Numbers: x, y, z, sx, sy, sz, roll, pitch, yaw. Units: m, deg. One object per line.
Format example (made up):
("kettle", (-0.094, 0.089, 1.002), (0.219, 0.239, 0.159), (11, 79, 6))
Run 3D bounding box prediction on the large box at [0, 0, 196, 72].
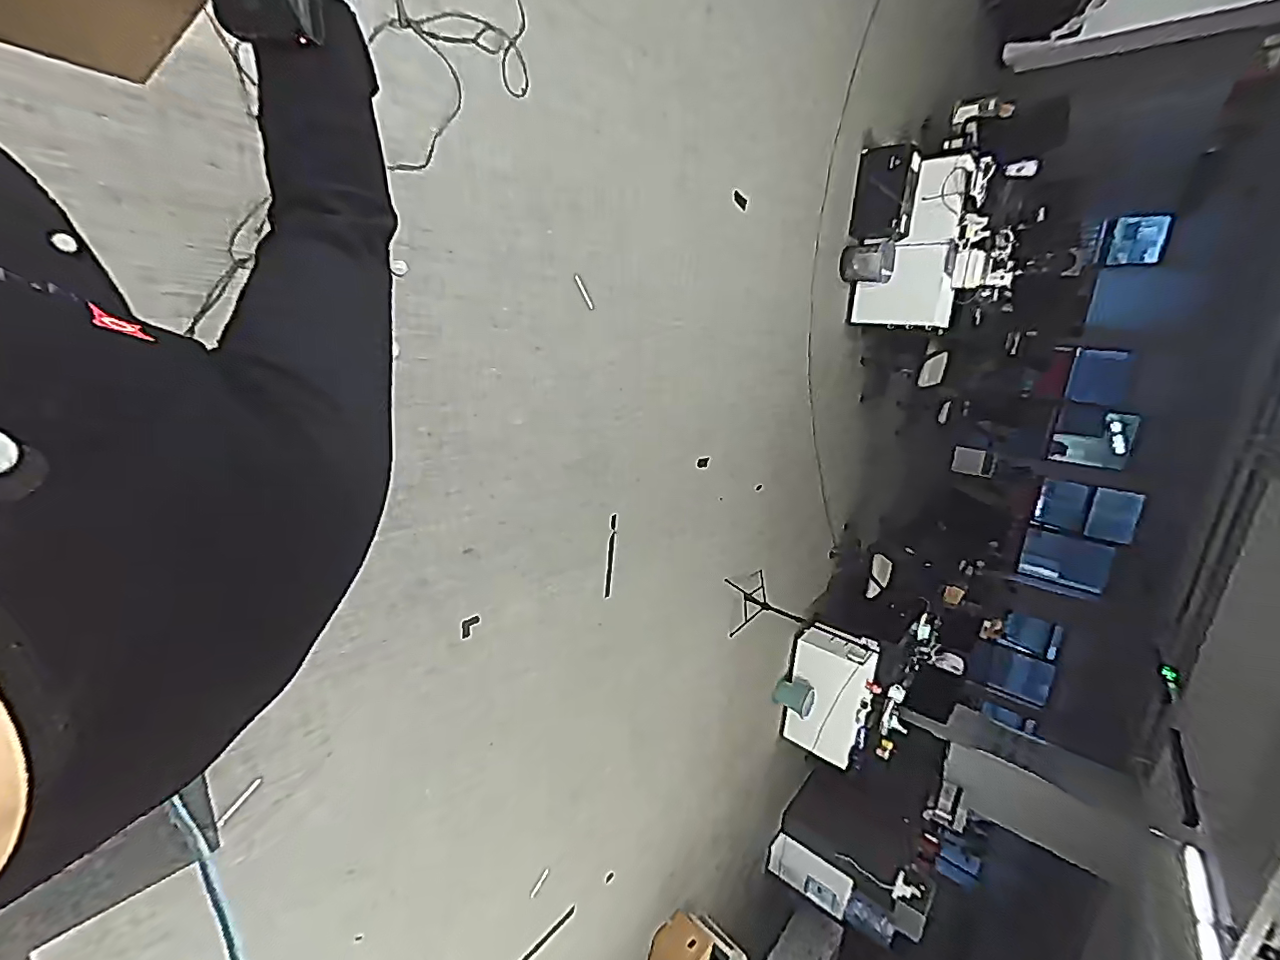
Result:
("large box", (-0.495, -0.484, 0.258), (0.408, 0.320, 0.320), (-13, 112, -49))
